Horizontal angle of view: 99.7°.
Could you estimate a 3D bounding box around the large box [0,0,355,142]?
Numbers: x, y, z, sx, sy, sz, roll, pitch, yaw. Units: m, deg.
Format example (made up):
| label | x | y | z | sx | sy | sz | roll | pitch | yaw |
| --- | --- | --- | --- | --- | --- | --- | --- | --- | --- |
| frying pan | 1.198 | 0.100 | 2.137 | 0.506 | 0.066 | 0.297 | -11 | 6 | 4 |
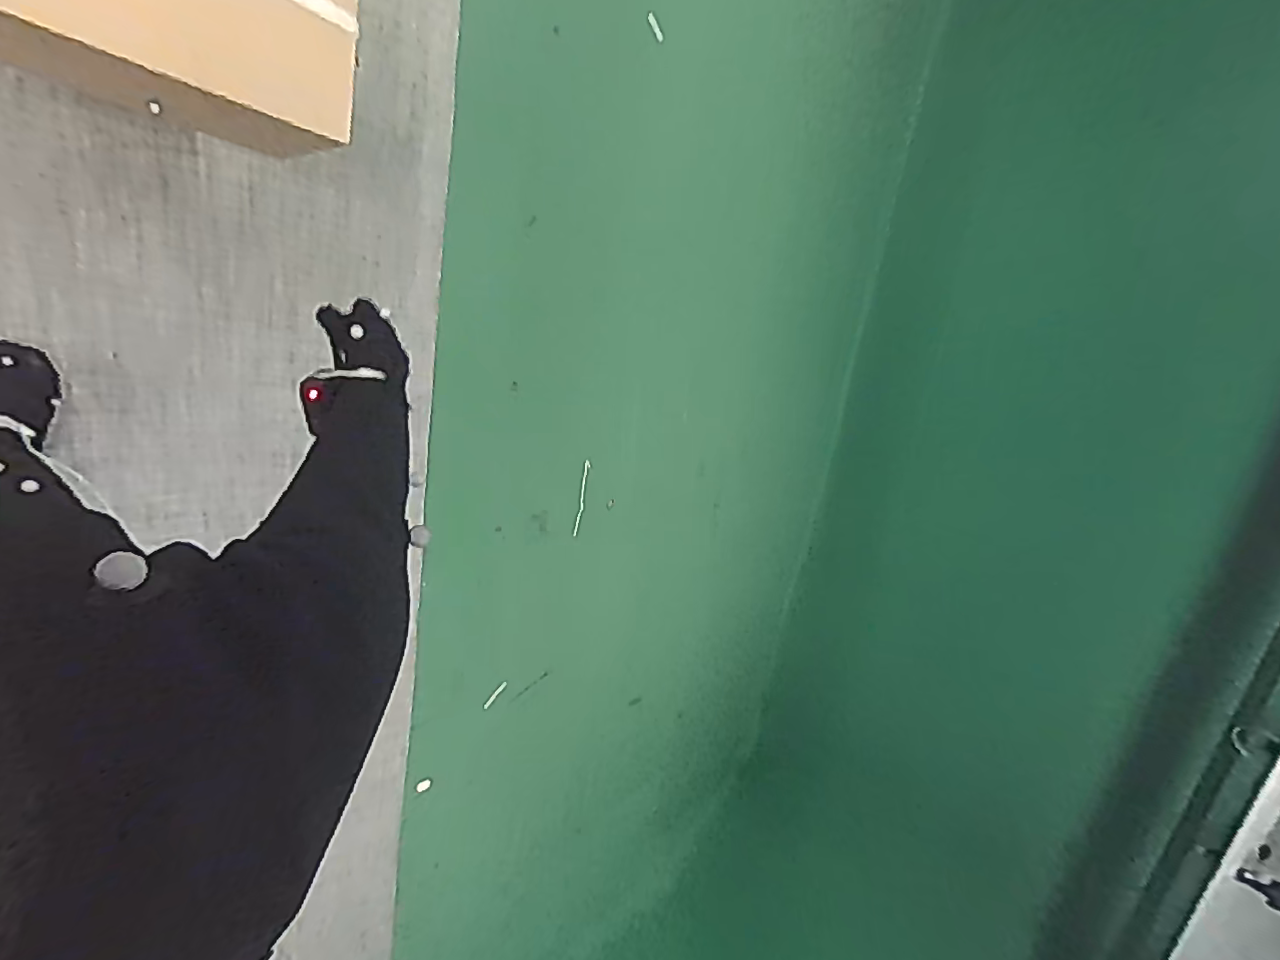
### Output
| label | x | y | z | sx | sy | sz | roll | pitch | yaw |
| --- | --- | --- | --- | --- | --- | --- | --- | --- | --- |
| large box | -0.658 | -0.708 | 0.734 | 0.408 | 0.320 | 0.320 | -5 | 111 | -49 |
